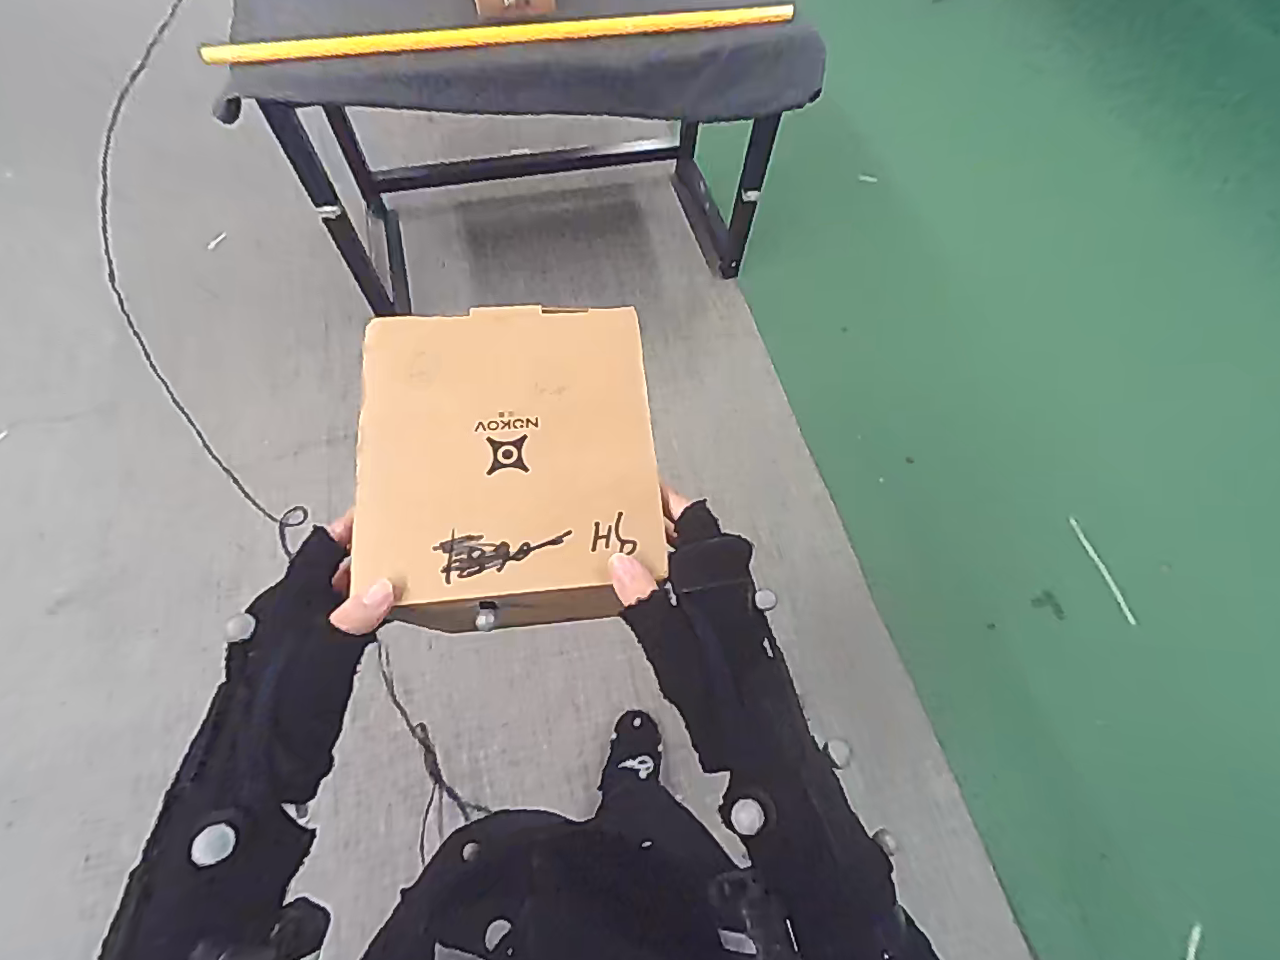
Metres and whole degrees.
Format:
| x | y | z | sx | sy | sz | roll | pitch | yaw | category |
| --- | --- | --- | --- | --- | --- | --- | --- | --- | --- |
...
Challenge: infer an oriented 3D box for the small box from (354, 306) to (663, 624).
| x | y | z | sx | sy | sz | roll | pitch | yaw | category |
| --- | --- | --- | --- | --- | --- | --- | --- | --- | --- |
| -0.081 | 0.000 | 0.392 | 0.168 | 0.176 | 0.179 | -5 | 70 | -5 | small box |

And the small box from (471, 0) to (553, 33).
| x | y | z | sx | sy | sz | roll | pitch | yaw | category |
| --- | --- | --- | --- | --- | --- | --- | --- | --- | --- |
| -0.289 | -1.098 | 1.151 | 0.168 | 0.176 | 0.179 | -15 | 67 | -9 | small box |
